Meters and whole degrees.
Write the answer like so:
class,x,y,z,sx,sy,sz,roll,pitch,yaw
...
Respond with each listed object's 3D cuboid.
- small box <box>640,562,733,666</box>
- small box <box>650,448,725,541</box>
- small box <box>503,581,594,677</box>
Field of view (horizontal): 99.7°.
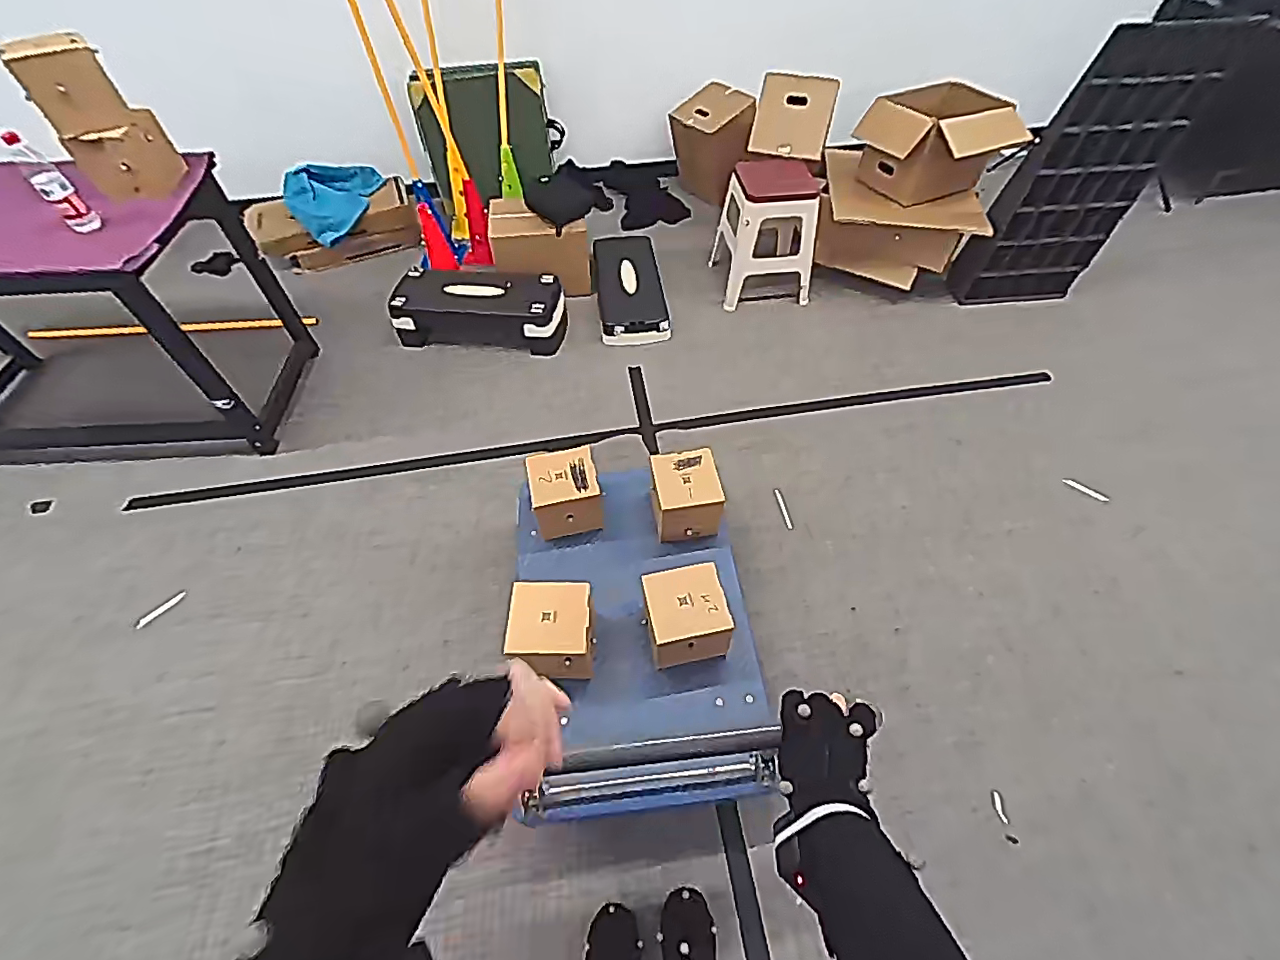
class,x,y,z,sx,sy,sz,roll,pitch,yaw
small box,0.102,0.315,1.252,0.179,0.176,0.168,-10,54,-6
small box,0.120,0.041,1.452,0.168,0.176,0.179,-8,55,-5
small box,-0.200,0.344,1.234,0.179,0.176,0.168,1,53,-1
